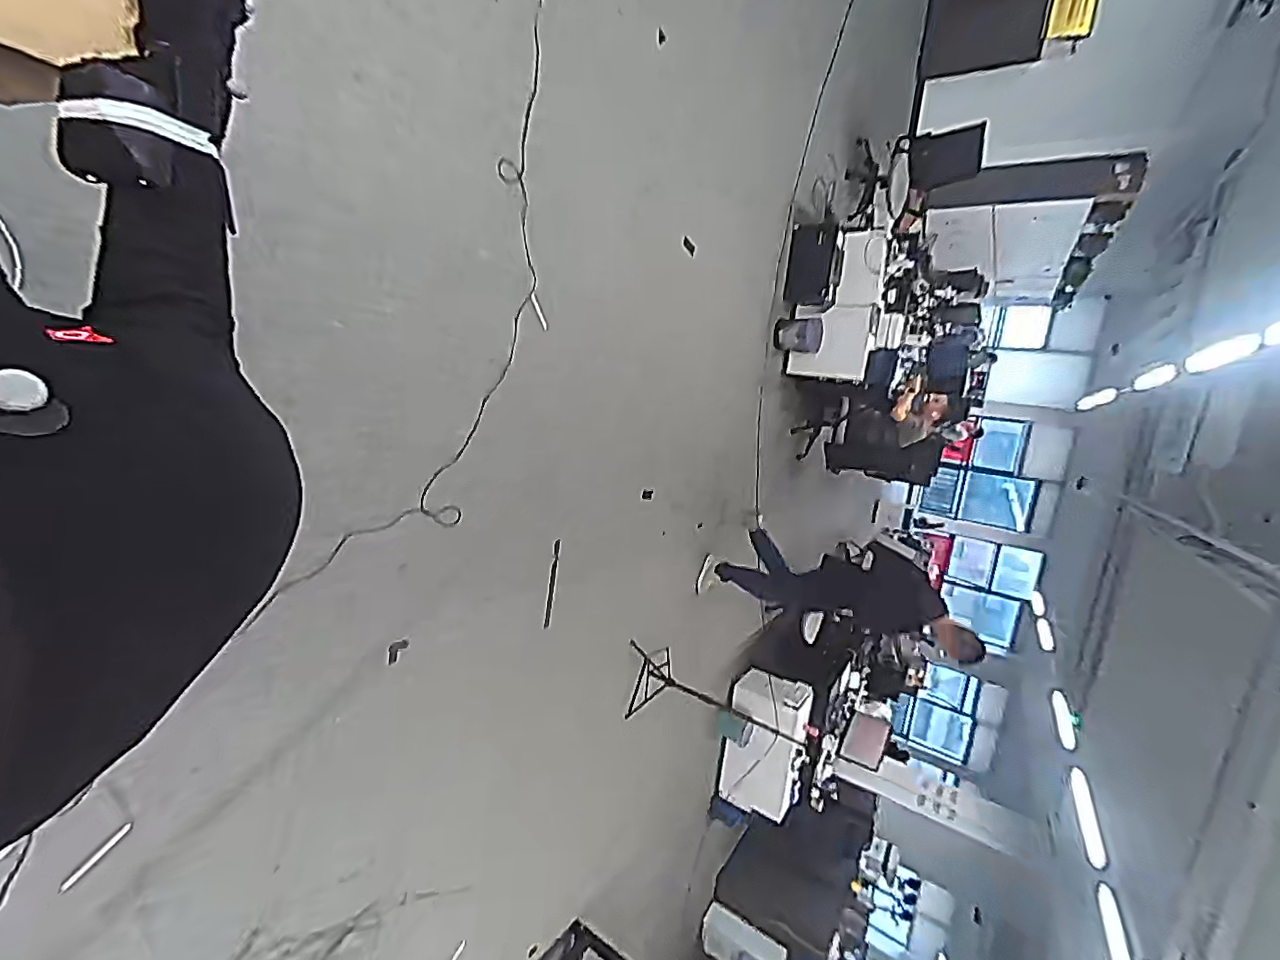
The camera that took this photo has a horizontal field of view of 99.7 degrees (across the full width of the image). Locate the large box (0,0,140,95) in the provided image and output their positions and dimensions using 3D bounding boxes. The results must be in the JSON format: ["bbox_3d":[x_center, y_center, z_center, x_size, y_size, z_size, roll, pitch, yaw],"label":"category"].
[{"bbox_3d":[-0.546,-0.439,0.240,0.408,0.320,0.320,-11,118,-59],"label":"large box"}]
